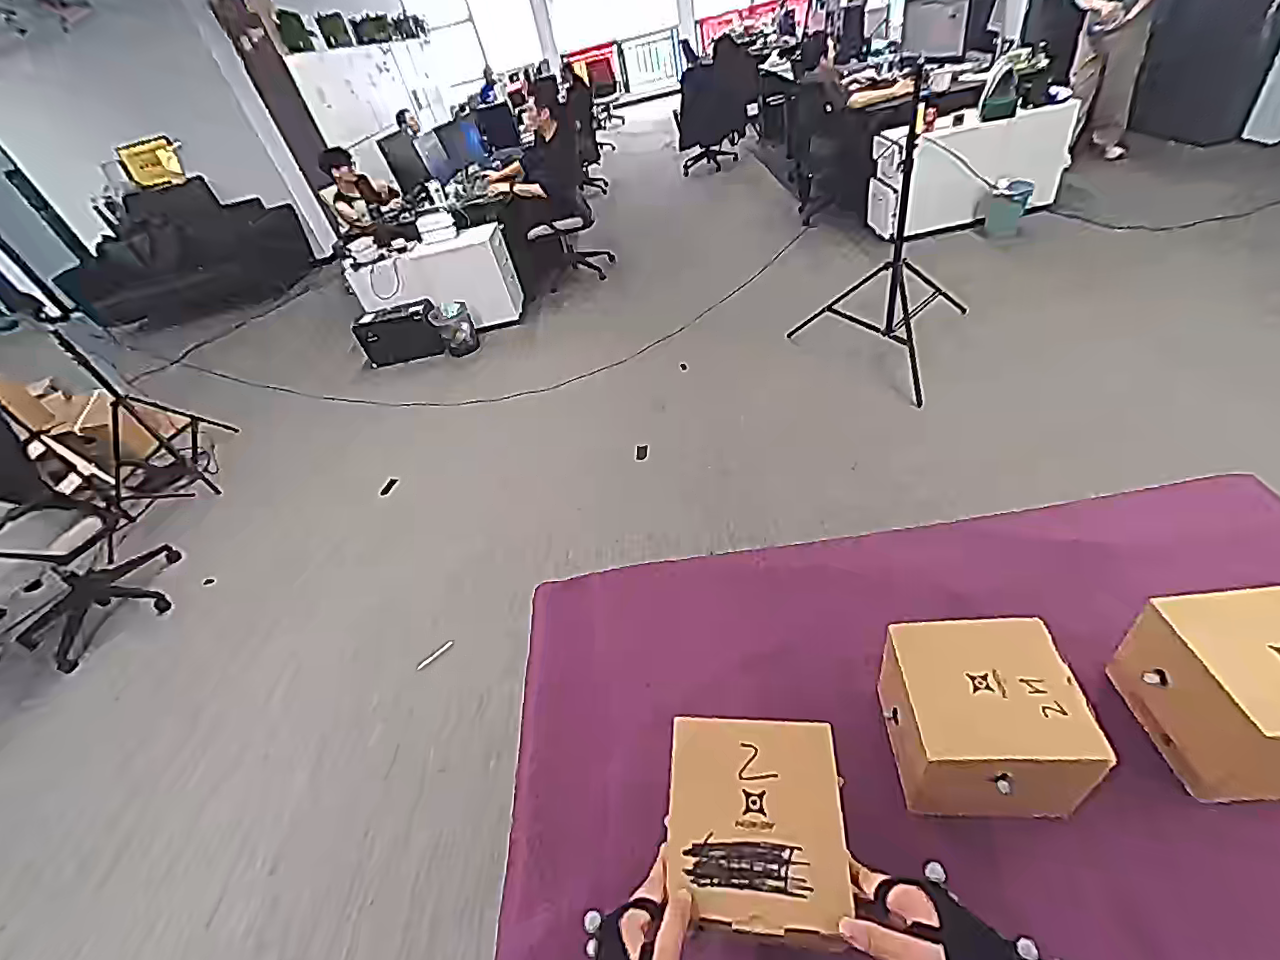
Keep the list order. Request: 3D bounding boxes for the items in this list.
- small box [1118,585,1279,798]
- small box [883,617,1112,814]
[{"bbox_3d":[0.697,0.241,0.614,0.179,0.176,0.168,-8,39,8],"label":"small box"},{"bbox_3d":[0.403,0.285,0.654,0.179,0.176,0.168,-5,41,11],"label":"small box"}]
